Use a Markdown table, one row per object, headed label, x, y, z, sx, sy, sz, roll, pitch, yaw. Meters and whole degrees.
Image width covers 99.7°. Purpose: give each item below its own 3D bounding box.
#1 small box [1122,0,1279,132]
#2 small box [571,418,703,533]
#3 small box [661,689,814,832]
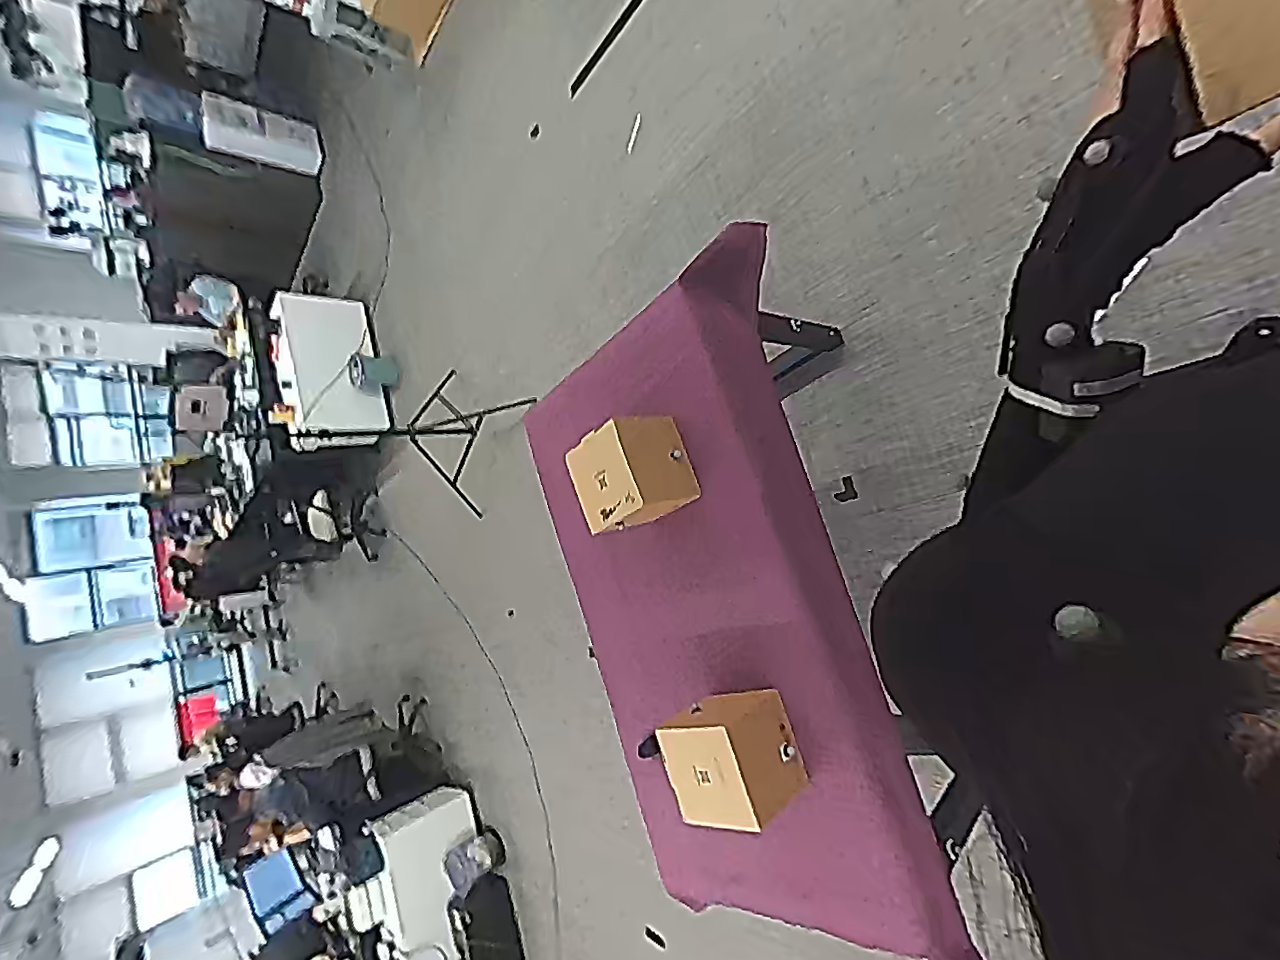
| label | x | y | z | sx | sy | sz | roll | pitch | yaw |
| --- | --- | --- | --- | --- | --- | --- | --- | --- | --- |
| small box | 0.385 | -0.328 | 0.293 | 0.168 | 0.176 | 0.179 | -18 | 102 | 37 |
| small box | -0.005 | -0.011 | 1.075 | 0.168 | 0.176 | 0.179 | -32 | 72 | 44 |
| small box | 0.173 | 0.489 | 0.962 | 0.179 | 0.176 | 0.168 | -30 | 75 | 43 |
